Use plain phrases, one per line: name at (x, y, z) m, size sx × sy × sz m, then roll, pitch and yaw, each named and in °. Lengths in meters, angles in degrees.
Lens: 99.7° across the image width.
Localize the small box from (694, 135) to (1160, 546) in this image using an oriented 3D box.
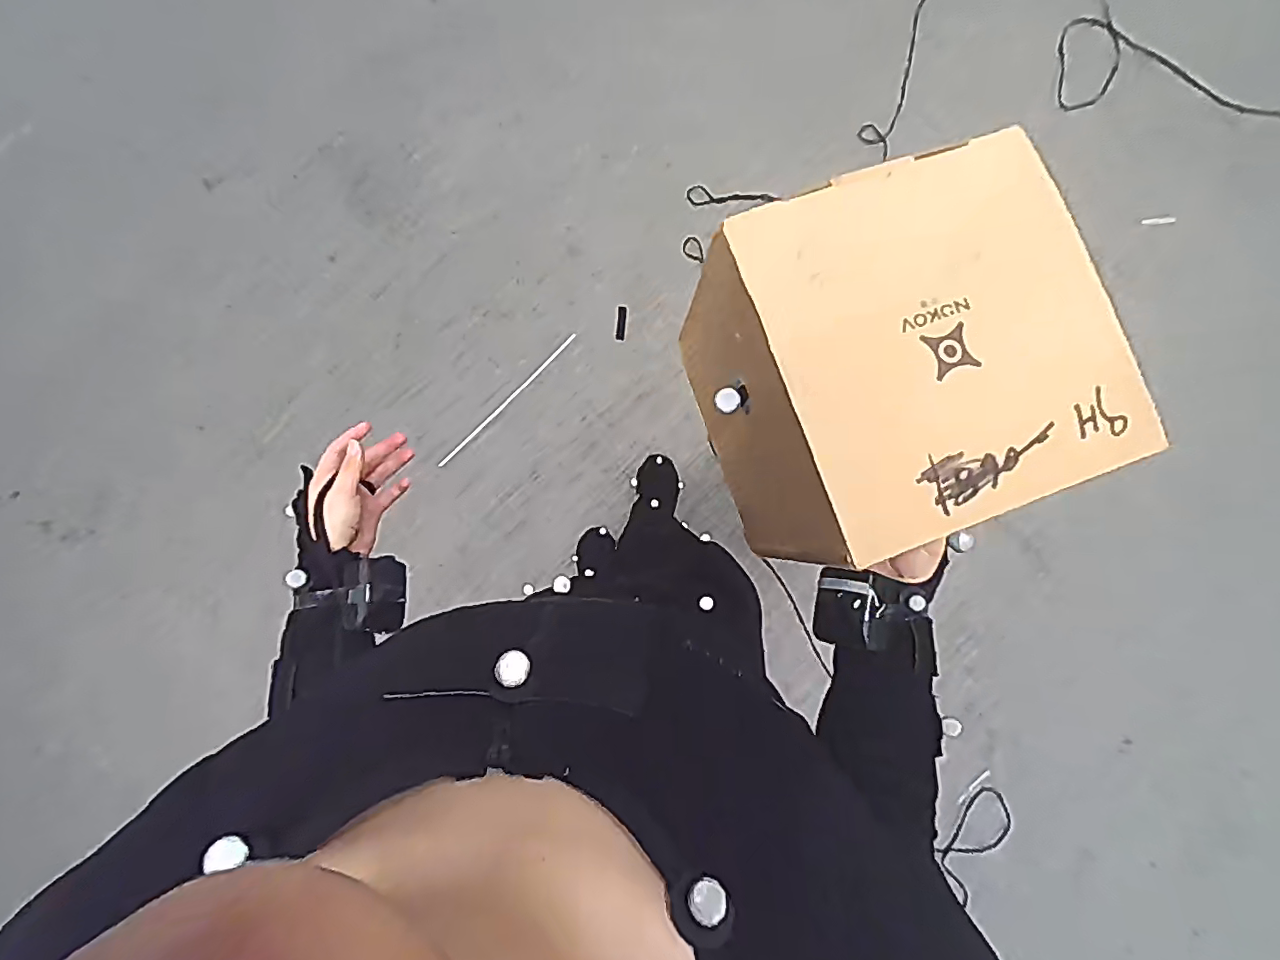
small box at (0.145, -0.064, 0.345) m, size 0.168 × 0.176 × 0.179 m, roll -20°, pitch 85°, yaw -5°
